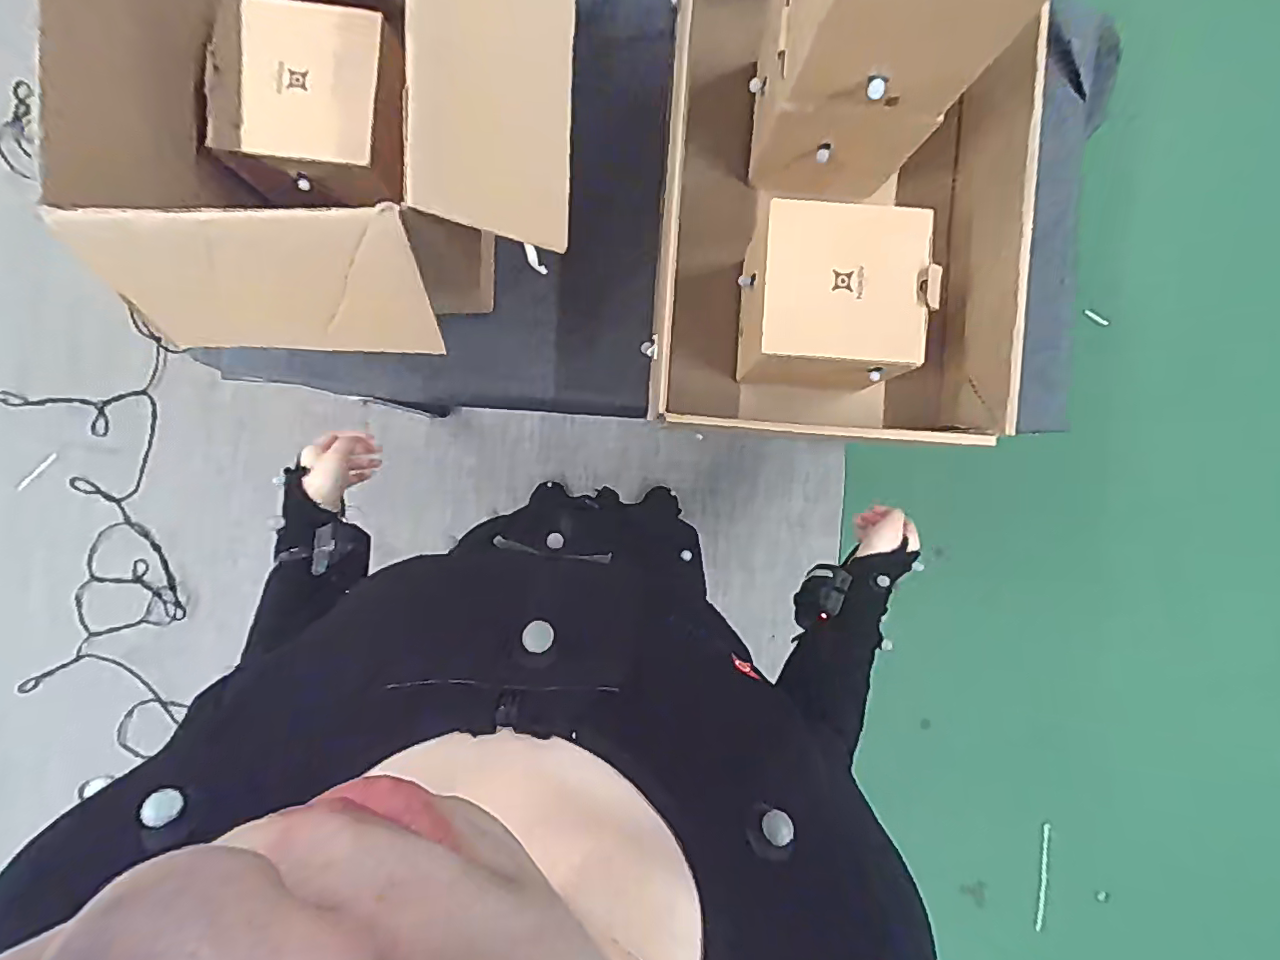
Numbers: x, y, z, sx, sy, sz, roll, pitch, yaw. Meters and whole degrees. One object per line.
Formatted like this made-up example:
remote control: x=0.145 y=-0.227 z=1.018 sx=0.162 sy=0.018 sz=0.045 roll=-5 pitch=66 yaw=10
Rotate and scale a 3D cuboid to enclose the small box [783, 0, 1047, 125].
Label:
small box: x=0.238 y=-0.465 z=0.486 sx=0.168 sy=0.176 sz=0.179 roll=5 pitch=94 yaw=-2
